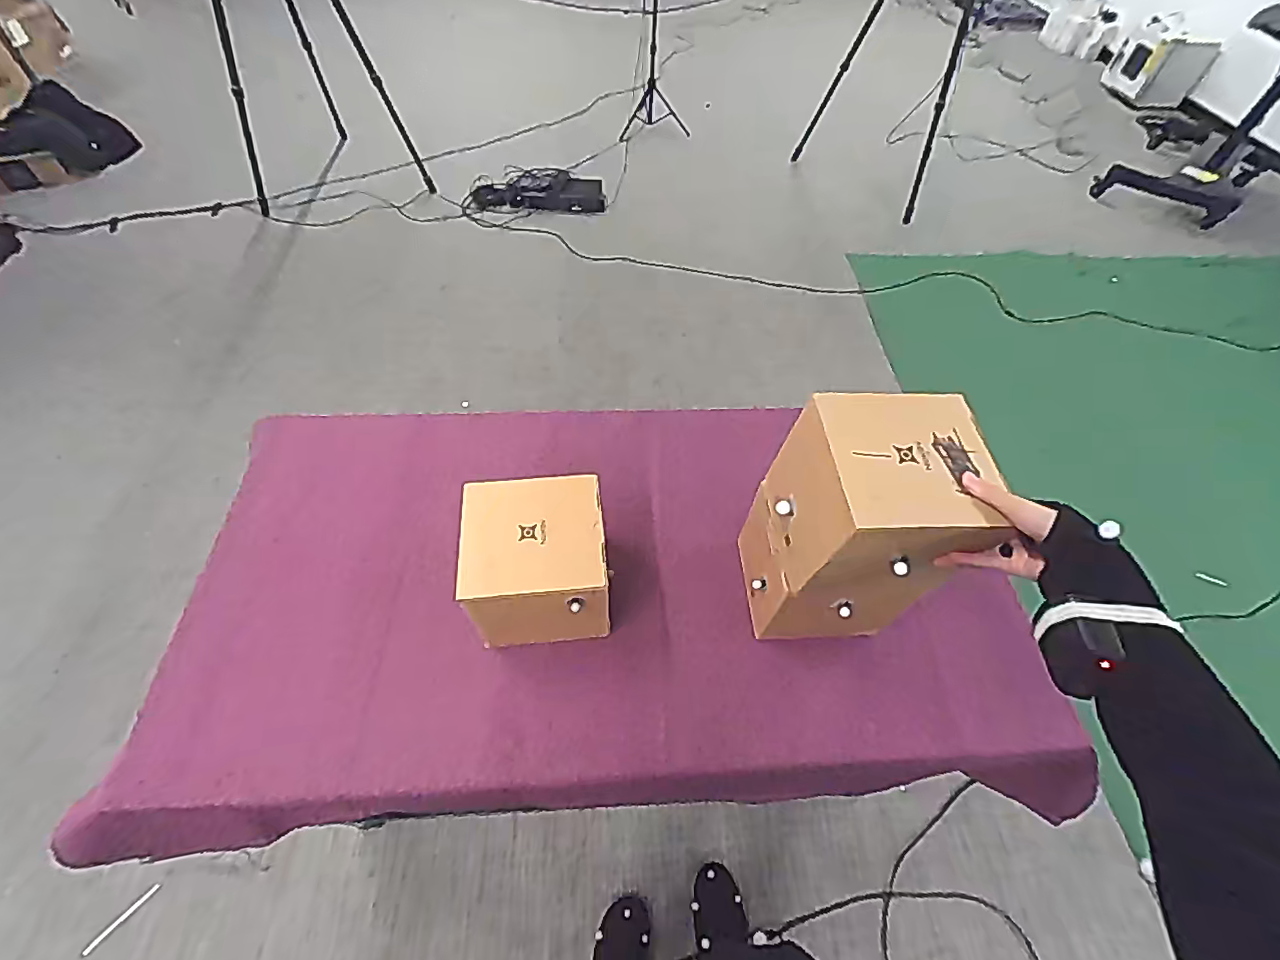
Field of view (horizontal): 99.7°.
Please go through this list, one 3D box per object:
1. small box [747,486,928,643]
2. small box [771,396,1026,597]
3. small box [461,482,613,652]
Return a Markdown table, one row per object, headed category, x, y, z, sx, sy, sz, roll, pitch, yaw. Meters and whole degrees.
| category | x | y | z | sx | sy | sz | roll | pitch | yaw |
| --- | --- | --- | --- | --- | --- | --- | --- | --- | --- |
| small box | 0.253 | 0.120 | 0.750 | 0.179 | 0.176 | 0.168 | -1 | 55 | -4 |
| small box | 0.268 | 0.025 | 0.608 | 0.179 | 0.176 | 0.168 | 0 | 57 | -6 |
| small box | -0.131 | 0.122 | 0.736 | 0.179 | 0.176 | 0.168 | -4 | 54 | -6 |
